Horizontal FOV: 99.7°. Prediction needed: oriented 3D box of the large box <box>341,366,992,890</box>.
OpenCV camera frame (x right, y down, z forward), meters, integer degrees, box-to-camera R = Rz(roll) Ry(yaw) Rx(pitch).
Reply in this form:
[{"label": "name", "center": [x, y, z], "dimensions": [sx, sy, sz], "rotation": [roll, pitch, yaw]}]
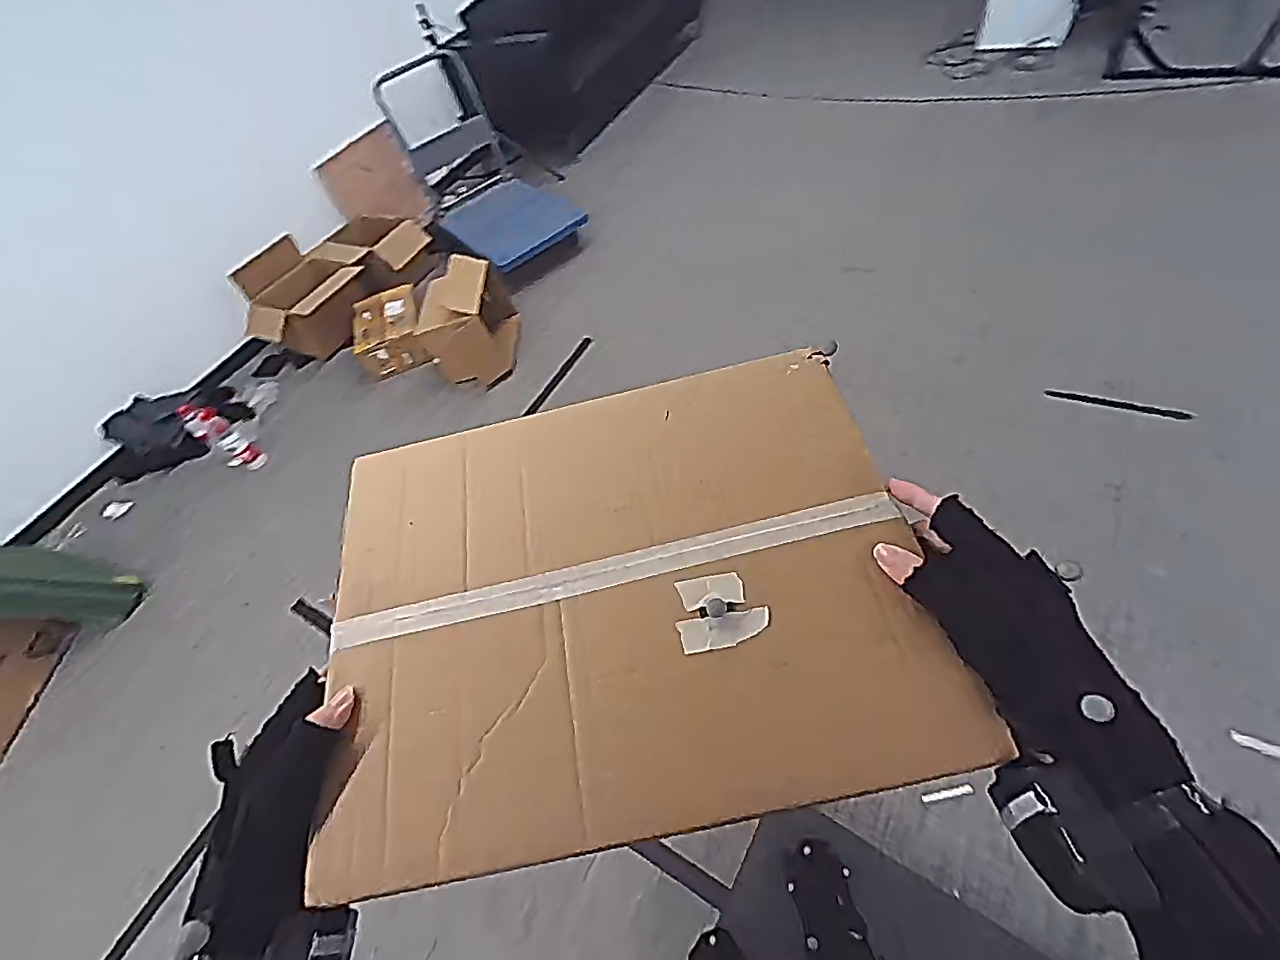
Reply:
[{"label": "large box", "center": [0.007, 0.148, 0.520], "dimensions": [0.408, 0.320, 0.320], "rotation": [-13, 59, 2]}]
